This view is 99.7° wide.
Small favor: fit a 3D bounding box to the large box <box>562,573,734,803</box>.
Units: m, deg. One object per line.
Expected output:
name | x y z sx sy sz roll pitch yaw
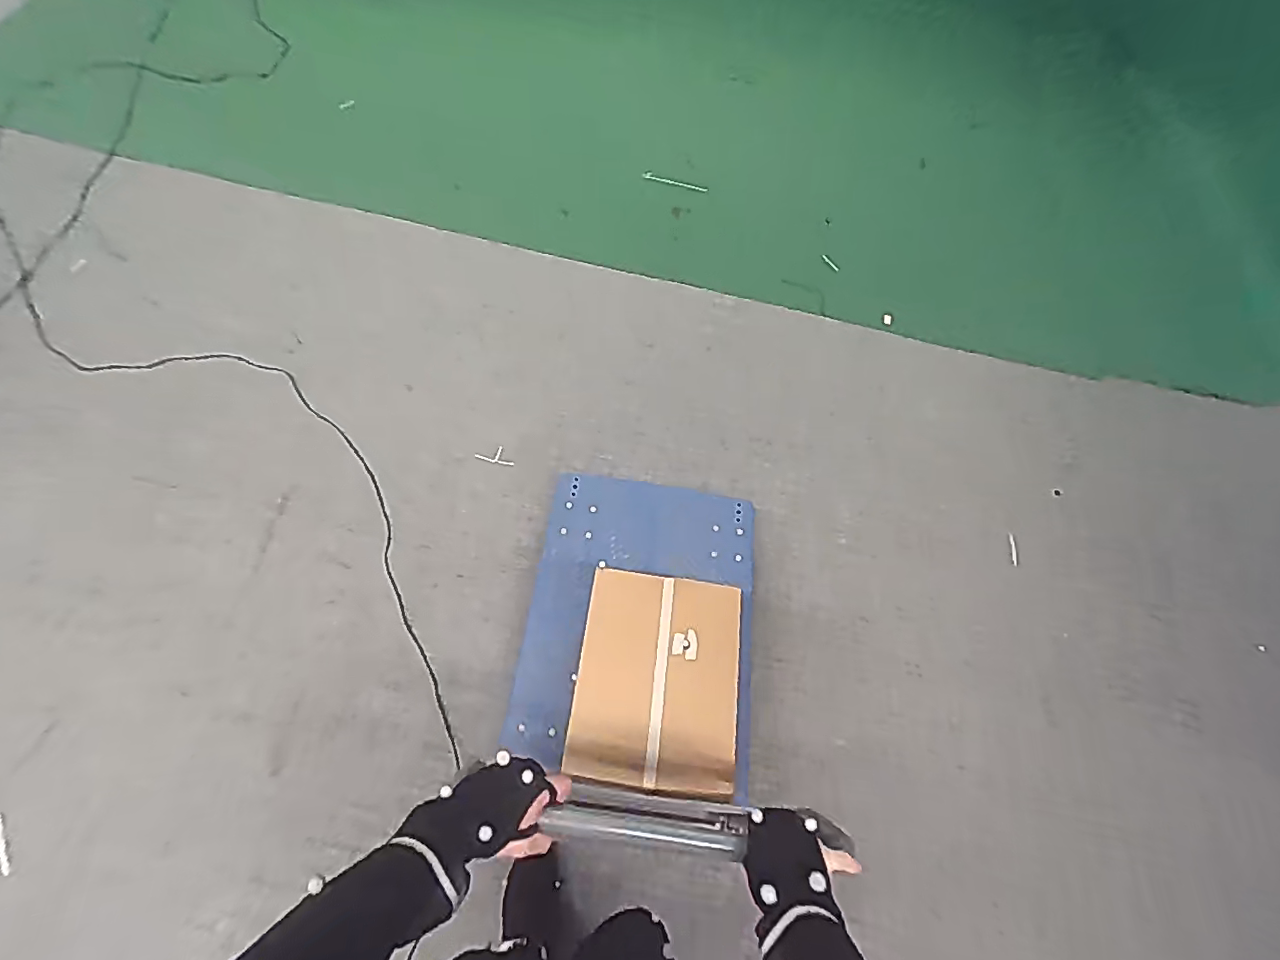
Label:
large box | 0.018 0.462 1.183 0.320 0.320 0.408 9 60 -2
